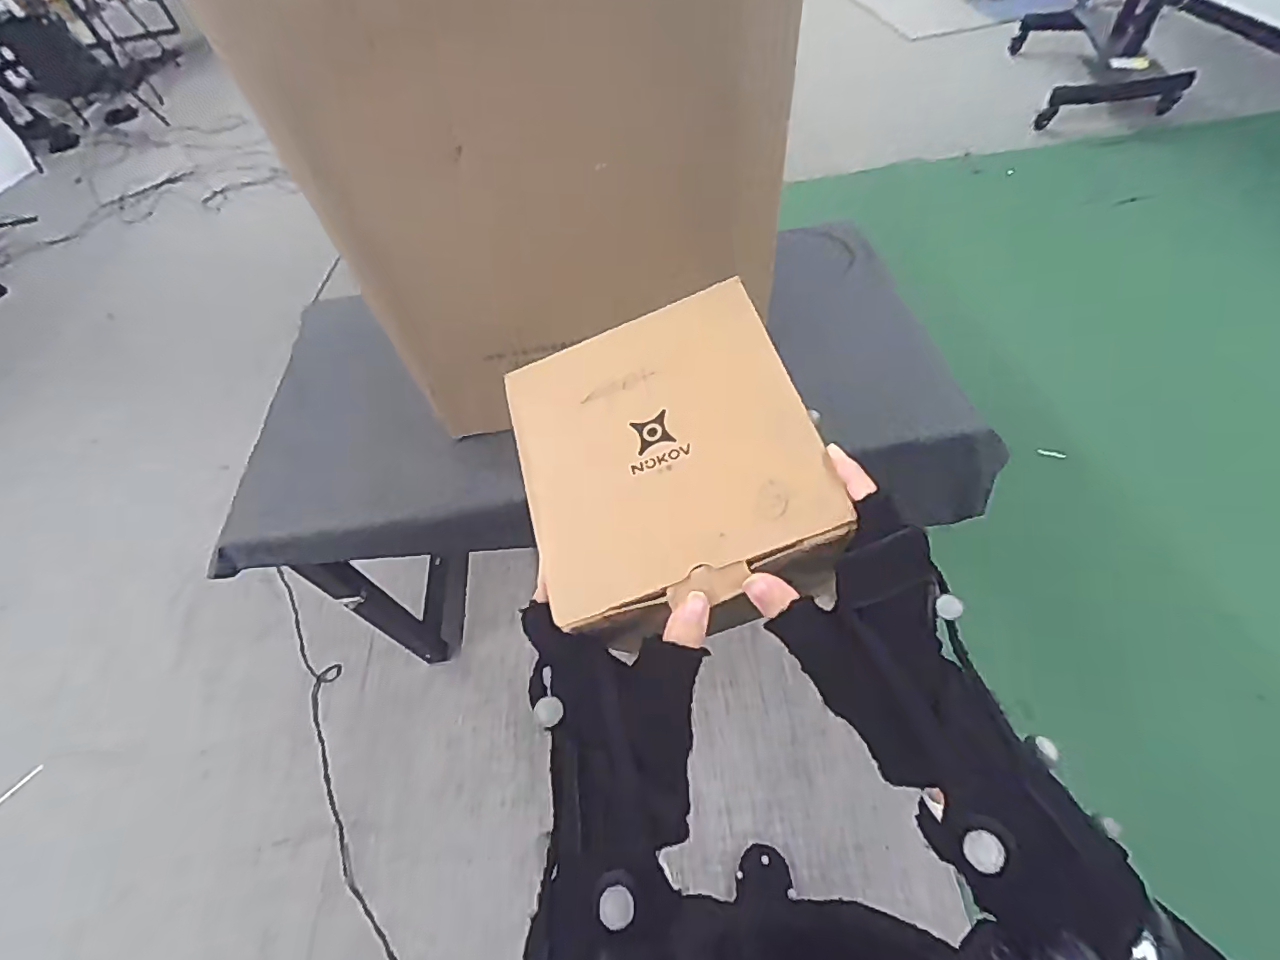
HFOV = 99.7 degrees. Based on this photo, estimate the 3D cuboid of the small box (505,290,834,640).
[{"bbox_3d":[0.025,0.007,0.393,0.168,0.176,0.179,-20,63,6],"label":"small box"}]
